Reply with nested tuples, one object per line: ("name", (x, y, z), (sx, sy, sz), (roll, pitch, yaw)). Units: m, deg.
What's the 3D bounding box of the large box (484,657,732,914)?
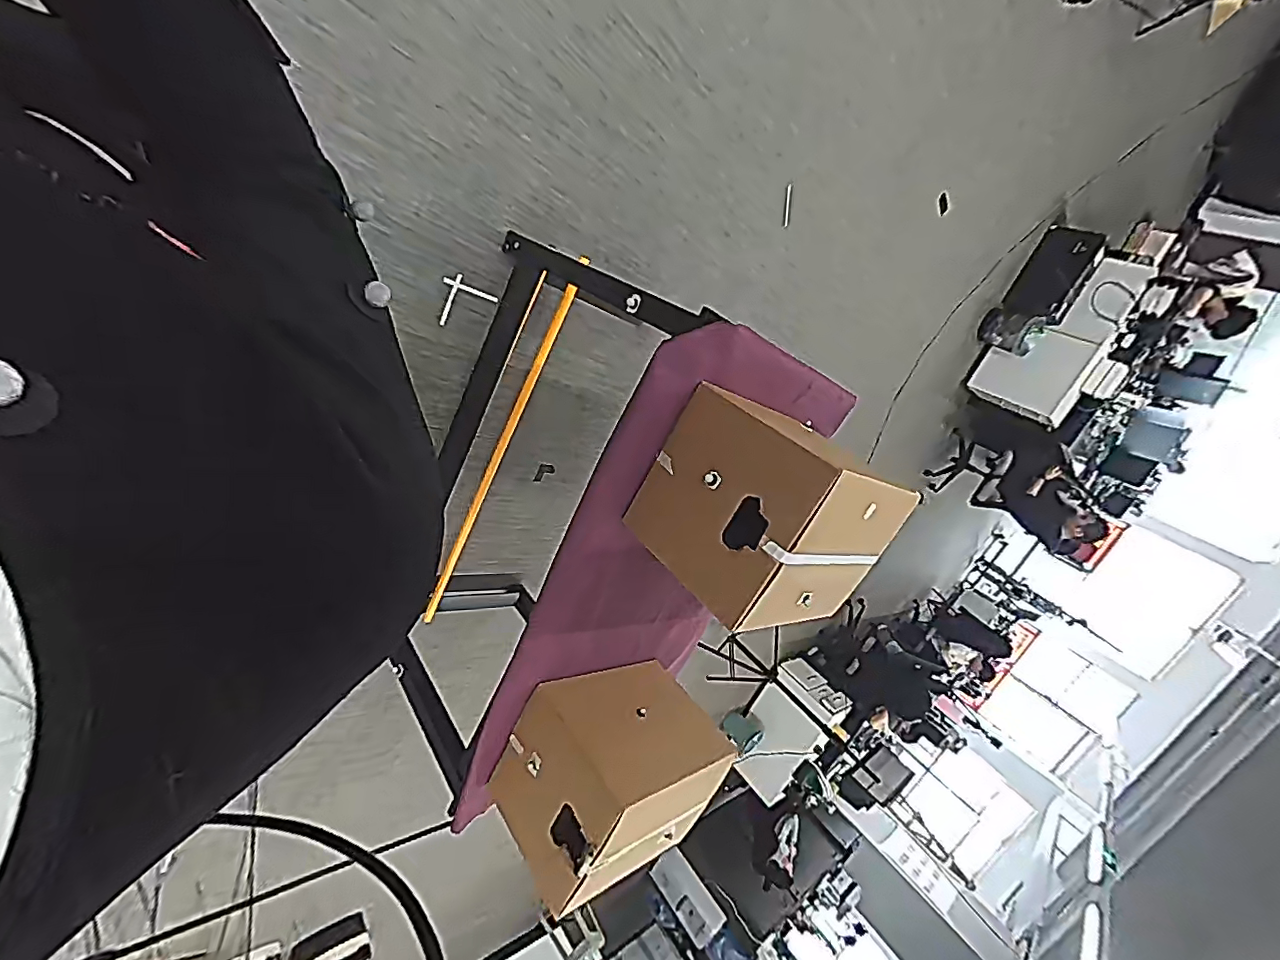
("large box", (-0.072, 0.649, 1.233), (0.408, 0.320, 0.320), (9, 114, -49))
